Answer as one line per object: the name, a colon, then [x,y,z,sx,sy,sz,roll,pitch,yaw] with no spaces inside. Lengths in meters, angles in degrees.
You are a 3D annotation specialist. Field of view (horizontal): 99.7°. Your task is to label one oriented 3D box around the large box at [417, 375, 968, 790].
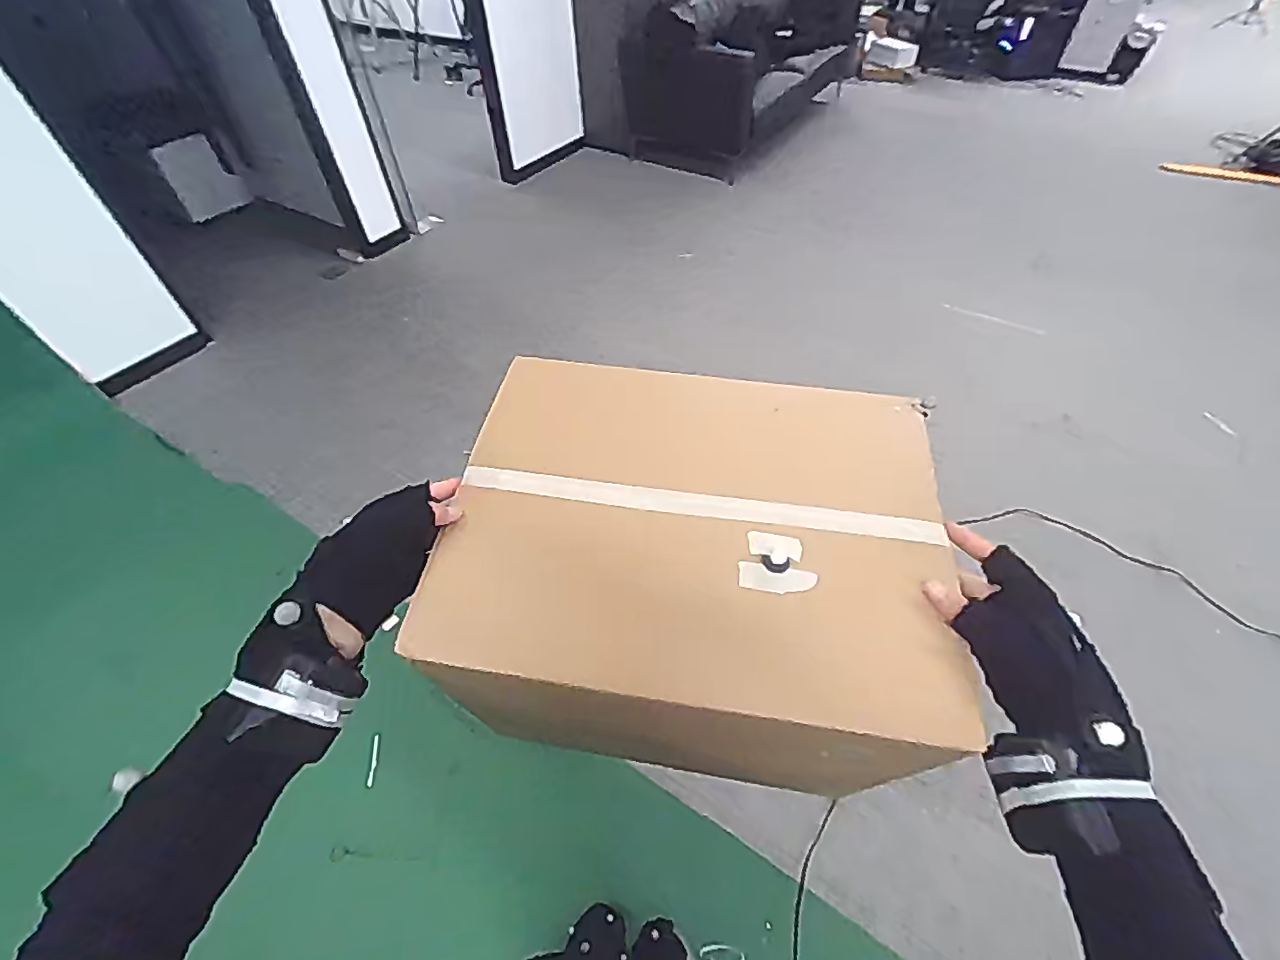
large box: [0.050,0.118,0.588,0.408,0.320,0.320,7,56,6]
